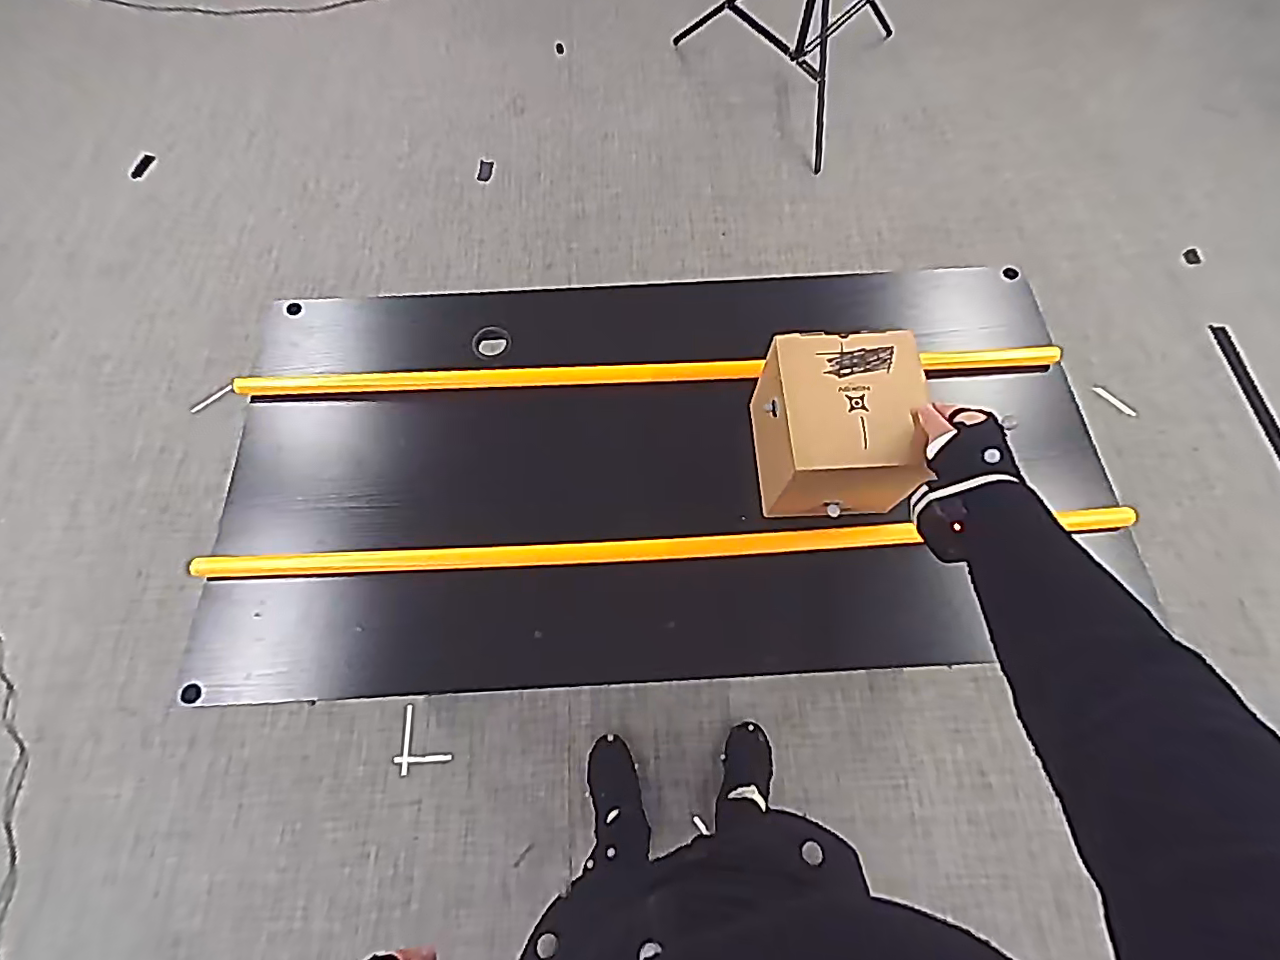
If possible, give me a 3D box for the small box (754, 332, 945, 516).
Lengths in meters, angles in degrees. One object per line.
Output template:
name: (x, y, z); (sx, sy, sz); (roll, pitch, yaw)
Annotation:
small box: (0.246, -0.064, 0.684); (0.168, 0.176, 0.179); (-2, 69, 1)
